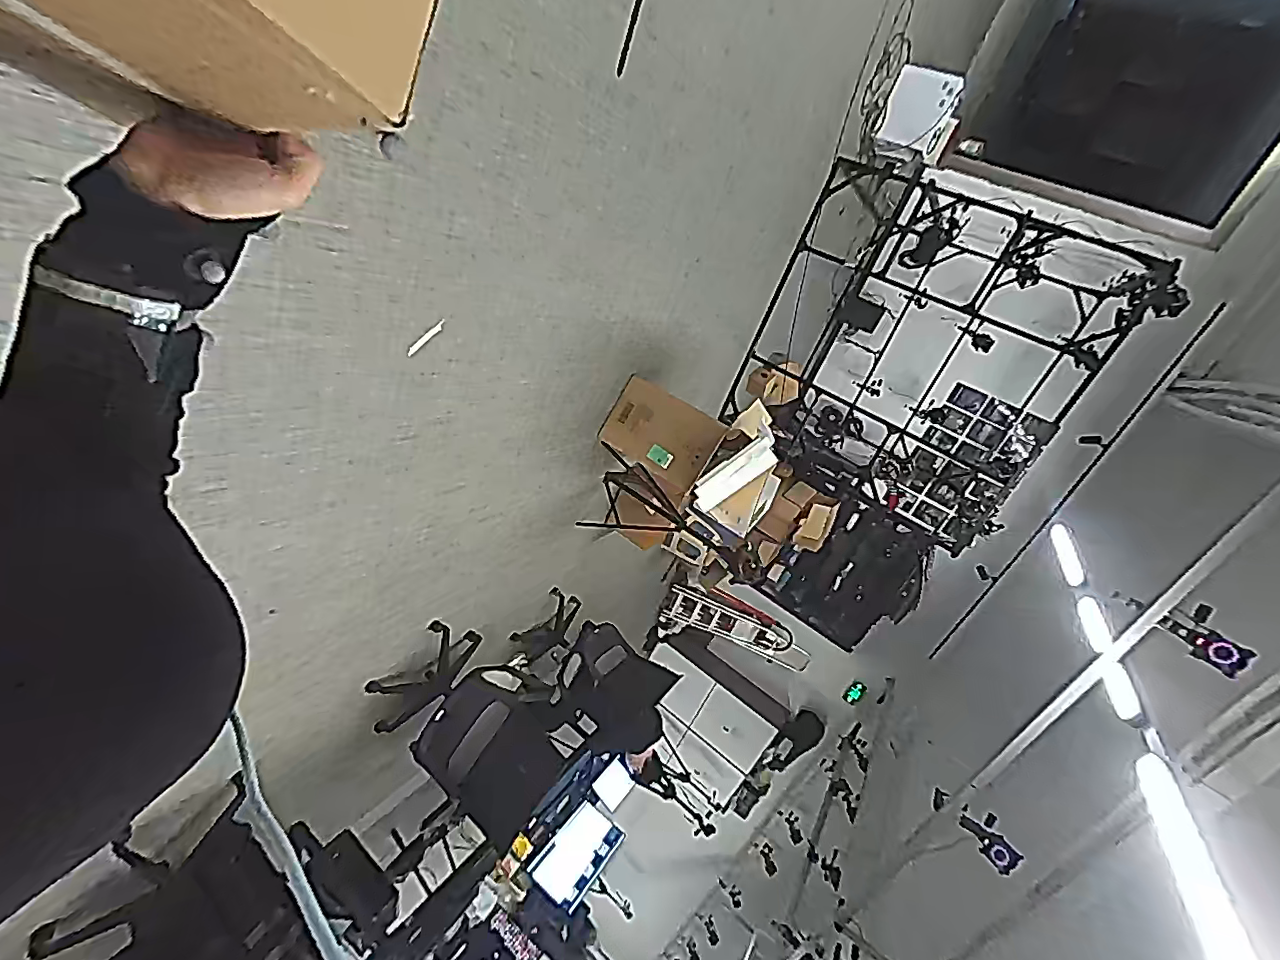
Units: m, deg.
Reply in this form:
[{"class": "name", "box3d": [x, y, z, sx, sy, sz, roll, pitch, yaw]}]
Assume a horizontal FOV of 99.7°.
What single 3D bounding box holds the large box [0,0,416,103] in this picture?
[{"class": "large box", "box3d": [-0.281, -0.380, 0.123, 0.408, 0.320, 0.320, 8, 102, -64]}]
